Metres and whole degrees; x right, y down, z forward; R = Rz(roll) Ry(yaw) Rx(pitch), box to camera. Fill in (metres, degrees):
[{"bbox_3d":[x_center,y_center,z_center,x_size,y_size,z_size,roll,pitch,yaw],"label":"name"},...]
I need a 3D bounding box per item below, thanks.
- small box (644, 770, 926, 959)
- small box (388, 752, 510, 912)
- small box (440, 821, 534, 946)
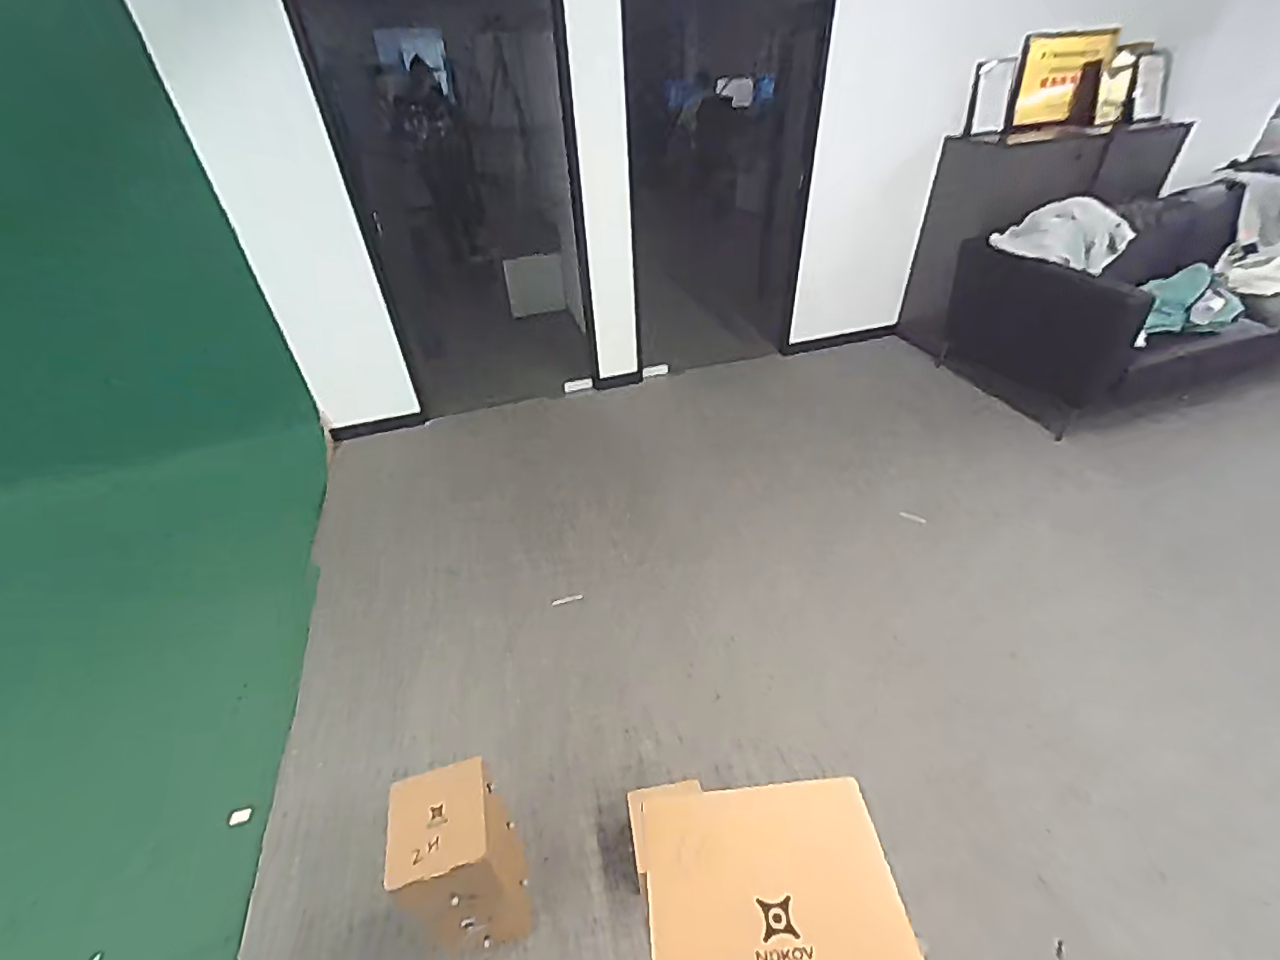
[{"bbox_3d":[0.093,0.342,0.385,0.168,0.176,0.179,-6,34,0],"label":"small box"},{"bbox_3d":[-0.342,0.643,0.990,0.168,0.176,0.179,-13,39,-10],"label":"small box"},{"bbox_3d":[-0.333,0.897,1.197,0.168,0.176,0.179,-10,40,-8],"label":"small box"}]
